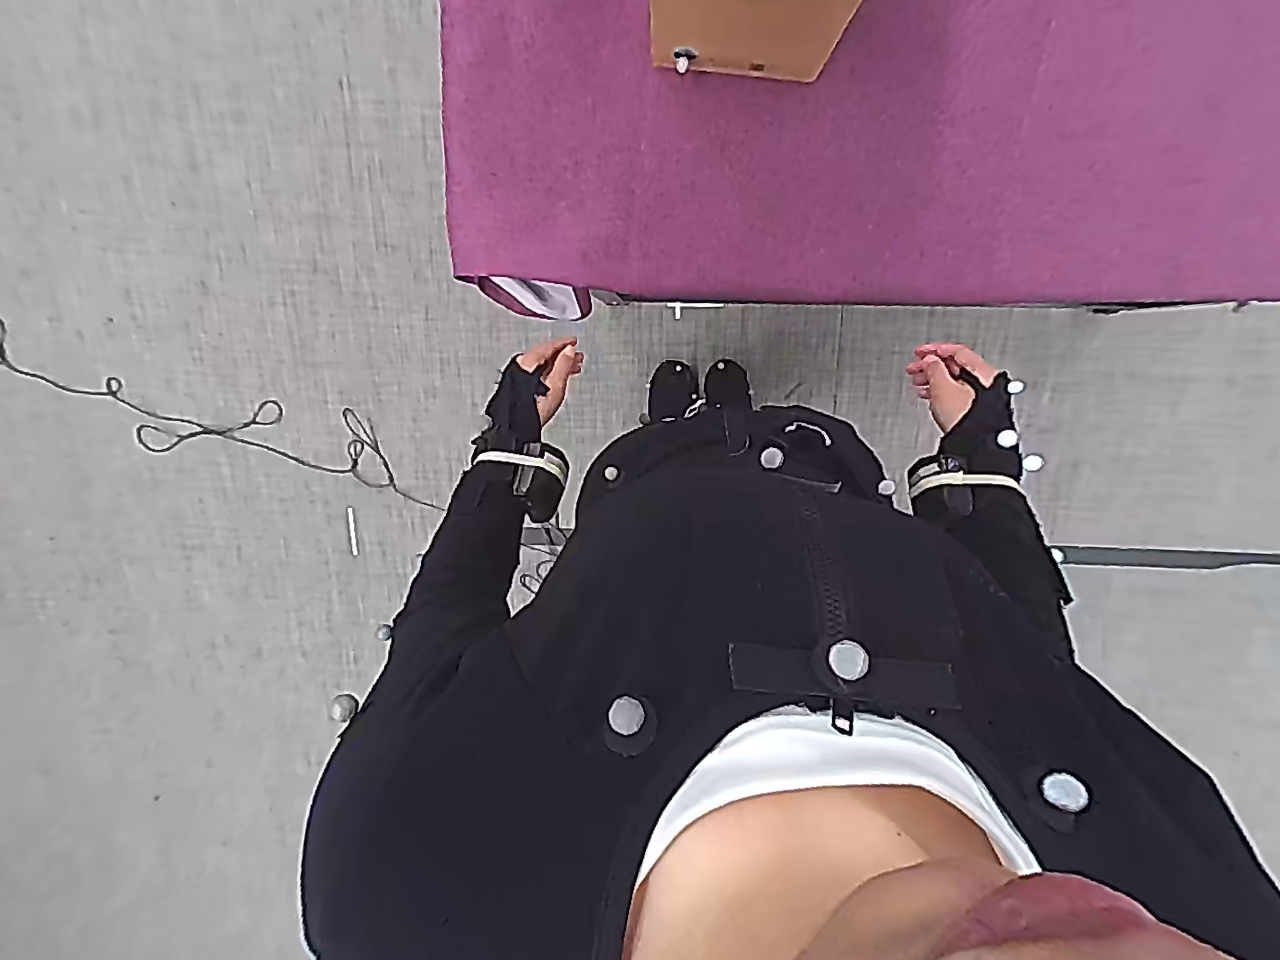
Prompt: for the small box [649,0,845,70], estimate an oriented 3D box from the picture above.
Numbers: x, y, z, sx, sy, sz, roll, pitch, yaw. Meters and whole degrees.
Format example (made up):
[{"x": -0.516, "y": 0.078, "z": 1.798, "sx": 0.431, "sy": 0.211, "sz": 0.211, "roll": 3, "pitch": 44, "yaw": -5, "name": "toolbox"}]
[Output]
[{"x": 0.097, "y": -0.474, "z": 0.440, "sx": 0.168, "sy": 0.176, "sz": 0.179, "roll": 6, "pitch": 104, "yaw": 1, "name": "small box"}]
